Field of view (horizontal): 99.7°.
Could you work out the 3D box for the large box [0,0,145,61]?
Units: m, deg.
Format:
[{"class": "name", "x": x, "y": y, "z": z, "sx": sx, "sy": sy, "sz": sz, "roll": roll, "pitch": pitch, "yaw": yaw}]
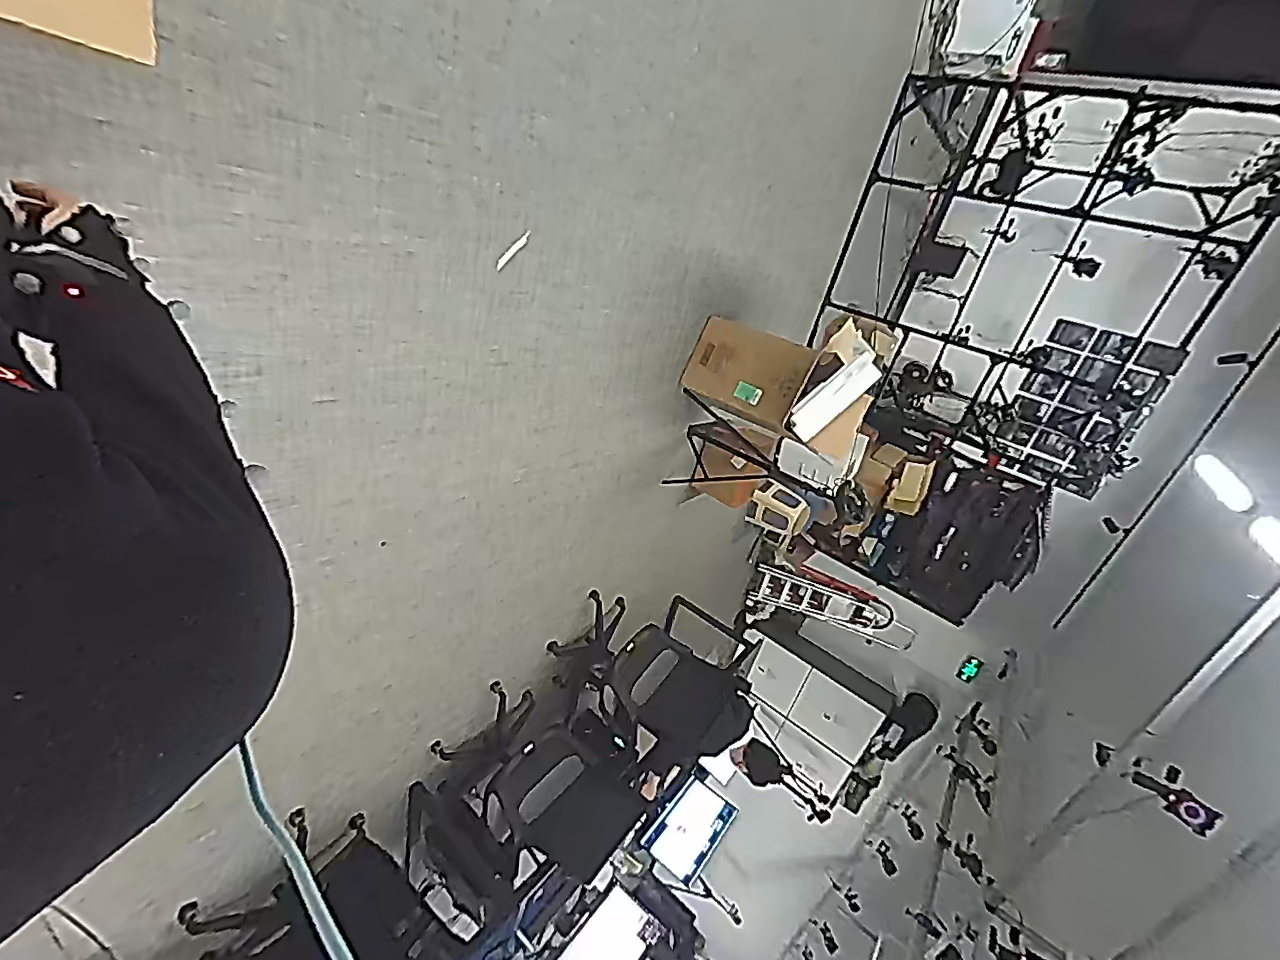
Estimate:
[{"class": "large box", "x": -0.865, "y": -0.720, "z": 0.582, "sx": 0.408, "sy": 0.320, "sz": 0.320, "roll": -20, "pitch": 132, "yaw": -54}]
